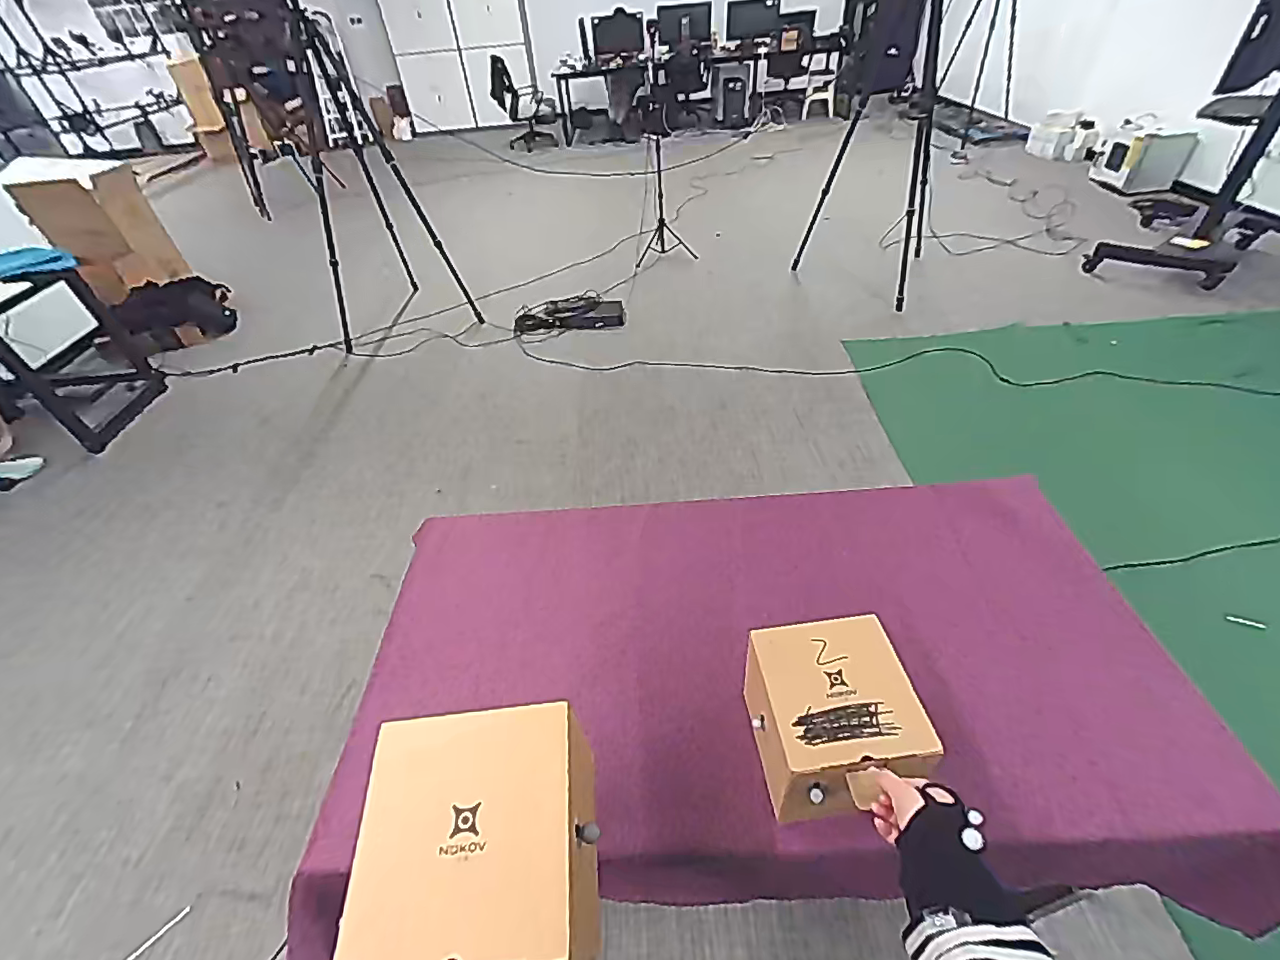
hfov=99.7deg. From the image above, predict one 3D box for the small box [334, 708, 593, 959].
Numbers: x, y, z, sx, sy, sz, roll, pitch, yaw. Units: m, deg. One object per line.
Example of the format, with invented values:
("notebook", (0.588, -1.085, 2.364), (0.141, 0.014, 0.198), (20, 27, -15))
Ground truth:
("small box", (-0.134, 0.326, 0.484), (0.168, 0.176, 0.179), (-6, 50, -1))
